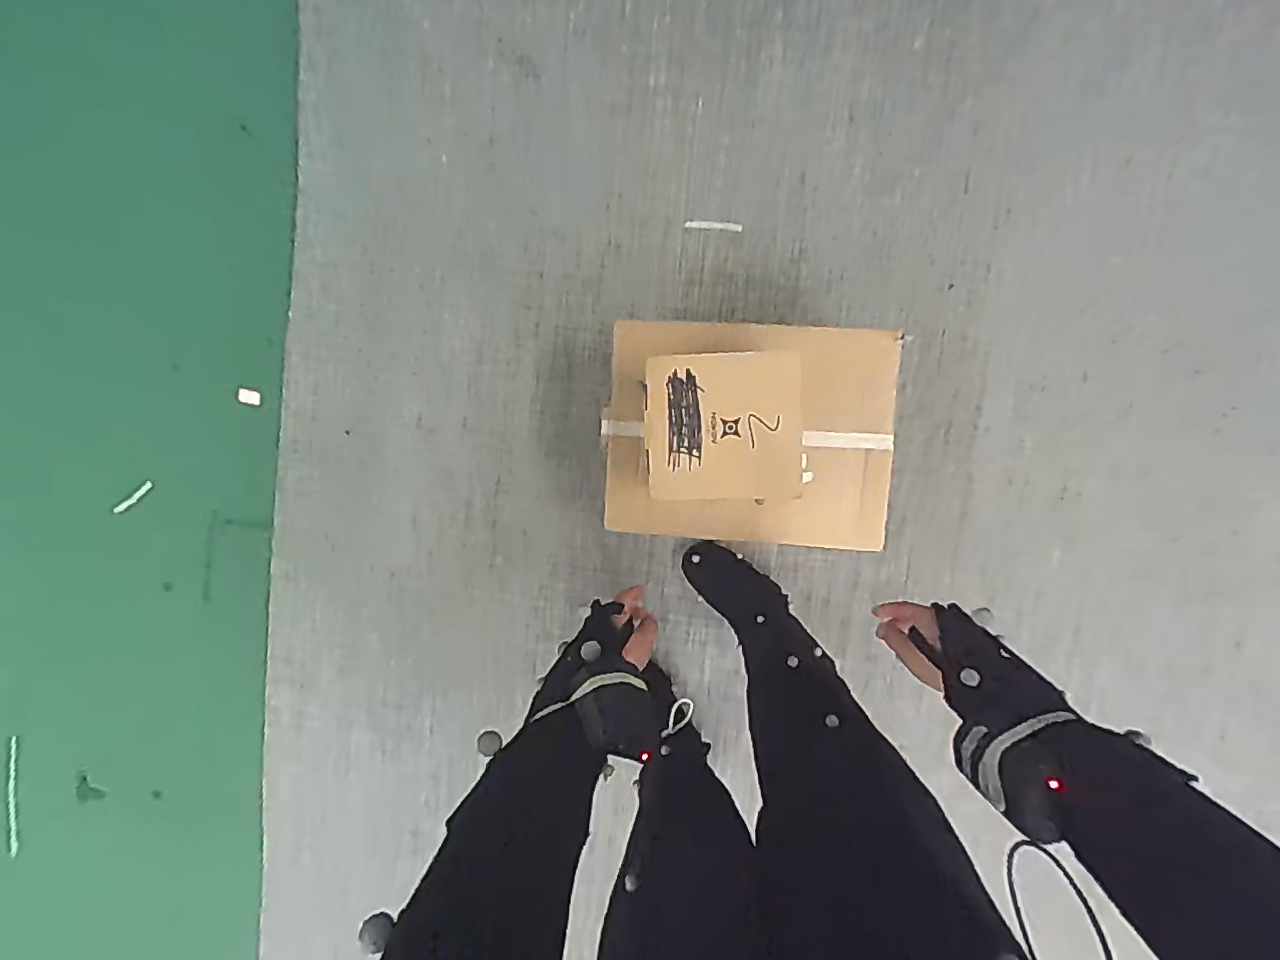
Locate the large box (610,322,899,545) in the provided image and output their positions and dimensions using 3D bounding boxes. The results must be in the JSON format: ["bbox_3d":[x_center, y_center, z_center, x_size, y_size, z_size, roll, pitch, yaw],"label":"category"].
[{"bbox_3d":[0.167,-0.077,0.924,0.408,0.320,0.320,3,95,5],"label":"large box"}]
